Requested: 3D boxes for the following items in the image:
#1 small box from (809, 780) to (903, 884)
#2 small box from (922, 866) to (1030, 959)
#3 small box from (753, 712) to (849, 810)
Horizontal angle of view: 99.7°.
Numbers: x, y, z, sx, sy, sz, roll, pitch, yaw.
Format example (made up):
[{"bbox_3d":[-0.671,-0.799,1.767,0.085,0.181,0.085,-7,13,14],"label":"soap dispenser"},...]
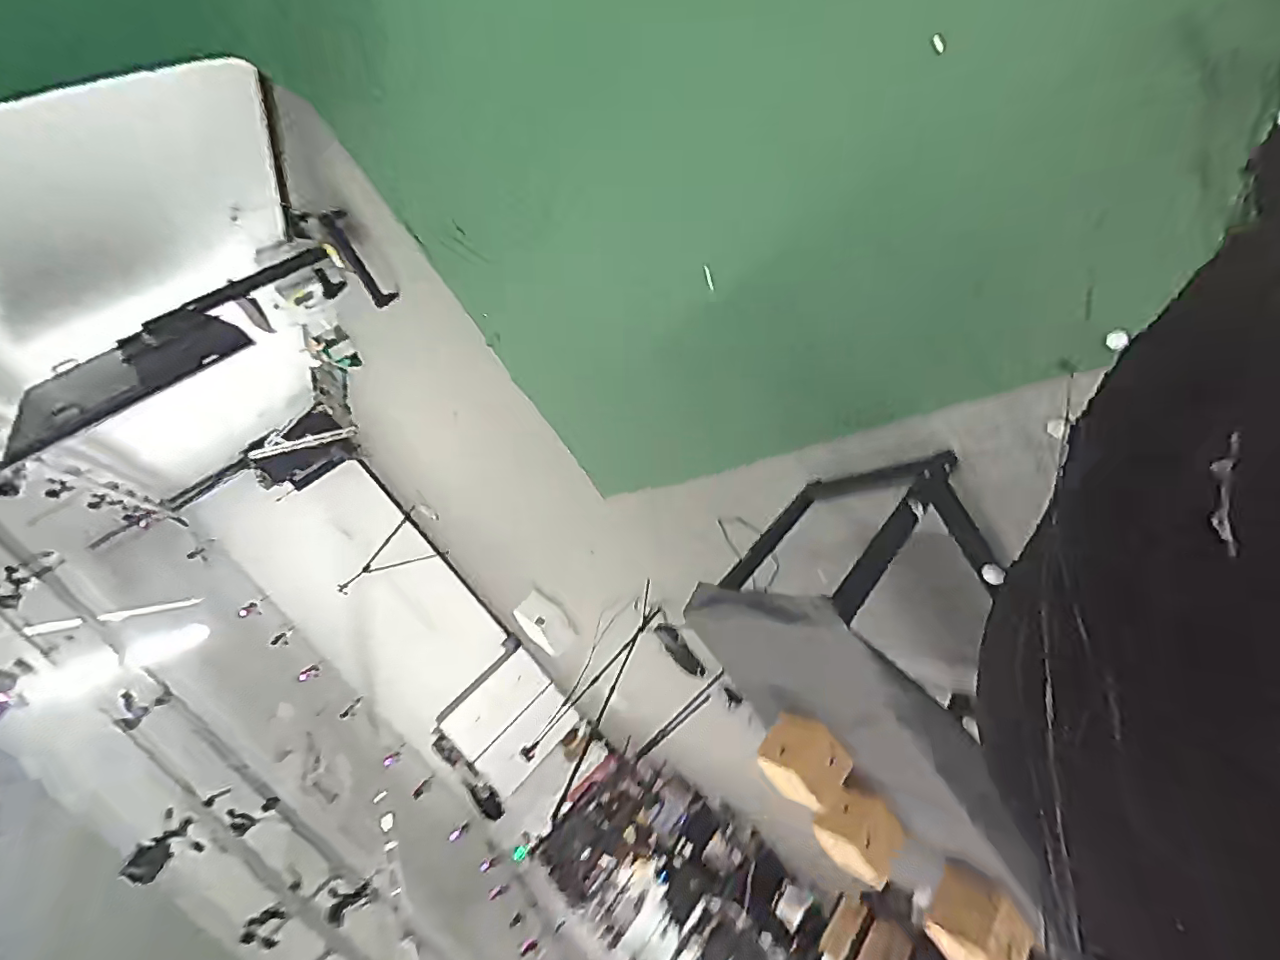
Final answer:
[{"bbox_3d":[0.651,1.045,1.626,0.179,0.176,0.168,54,150,-11],"label":"small box"},{"bbox_3d":[0.911,1.205,1.465,0.179,0.176,0.168,53,152,-10],"label":"small box"},{"bbox_3d":[0.476,0.817,1.593,0.168,0.176,0.179,54,151,-10],"label":"small box"}]
